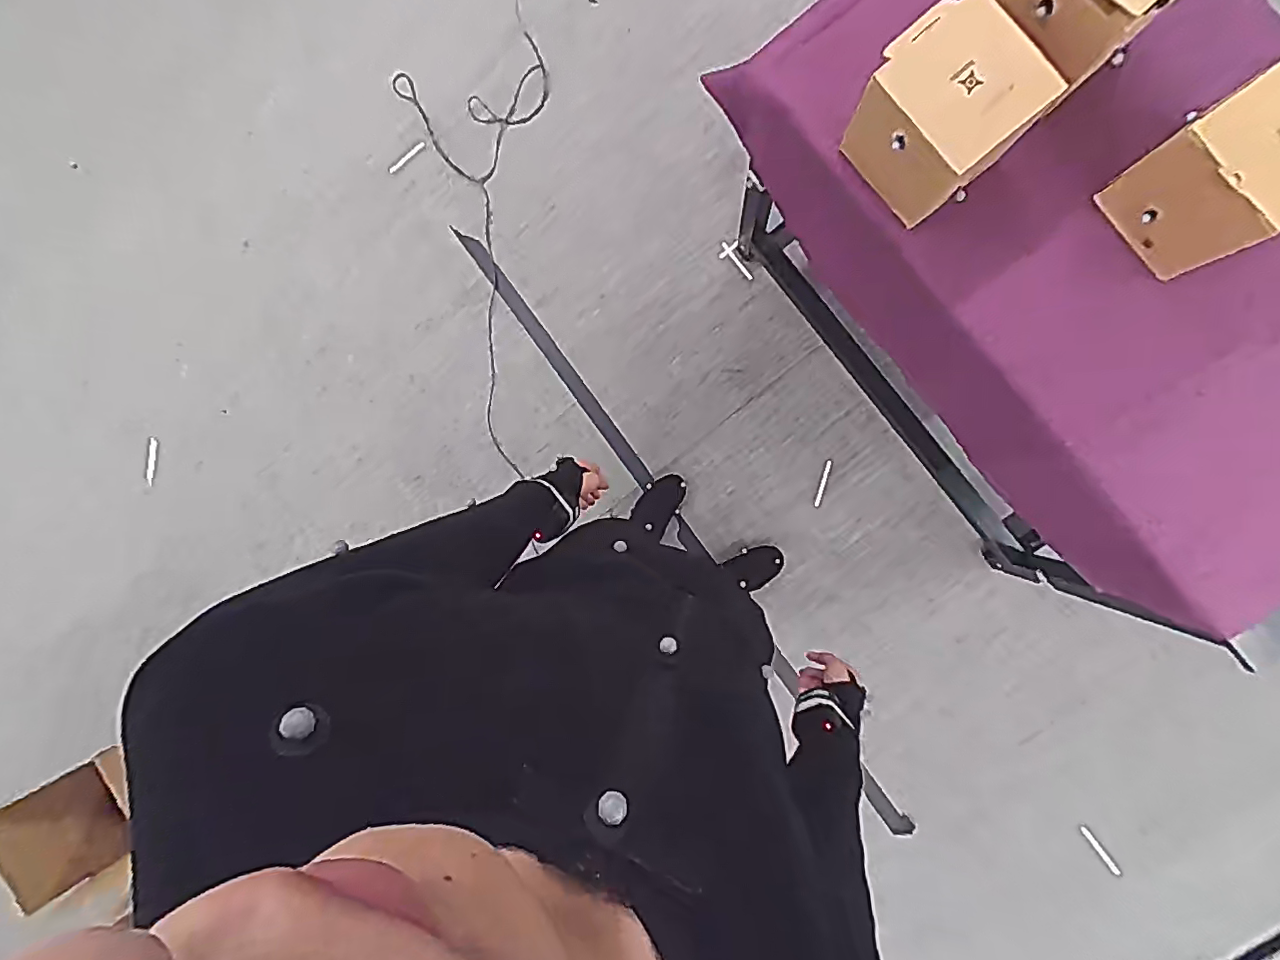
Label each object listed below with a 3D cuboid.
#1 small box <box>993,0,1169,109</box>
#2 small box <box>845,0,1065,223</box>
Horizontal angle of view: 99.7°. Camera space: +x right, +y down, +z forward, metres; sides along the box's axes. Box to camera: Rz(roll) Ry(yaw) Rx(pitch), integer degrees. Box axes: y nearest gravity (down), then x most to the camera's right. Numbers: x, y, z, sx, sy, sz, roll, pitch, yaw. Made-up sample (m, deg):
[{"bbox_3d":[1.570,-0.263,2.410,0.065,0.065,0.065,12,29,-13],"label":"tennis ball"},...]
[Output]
[{"bbox_3d":[0.600,-0.666,0.735,0.168,0.176,0.179,-41,87,6],"label":"small box"},{"bbox_3d":[0.420,-0.507,0.760,0.168,0.176,0.179,-39,87,6],"label":"small box"}]
